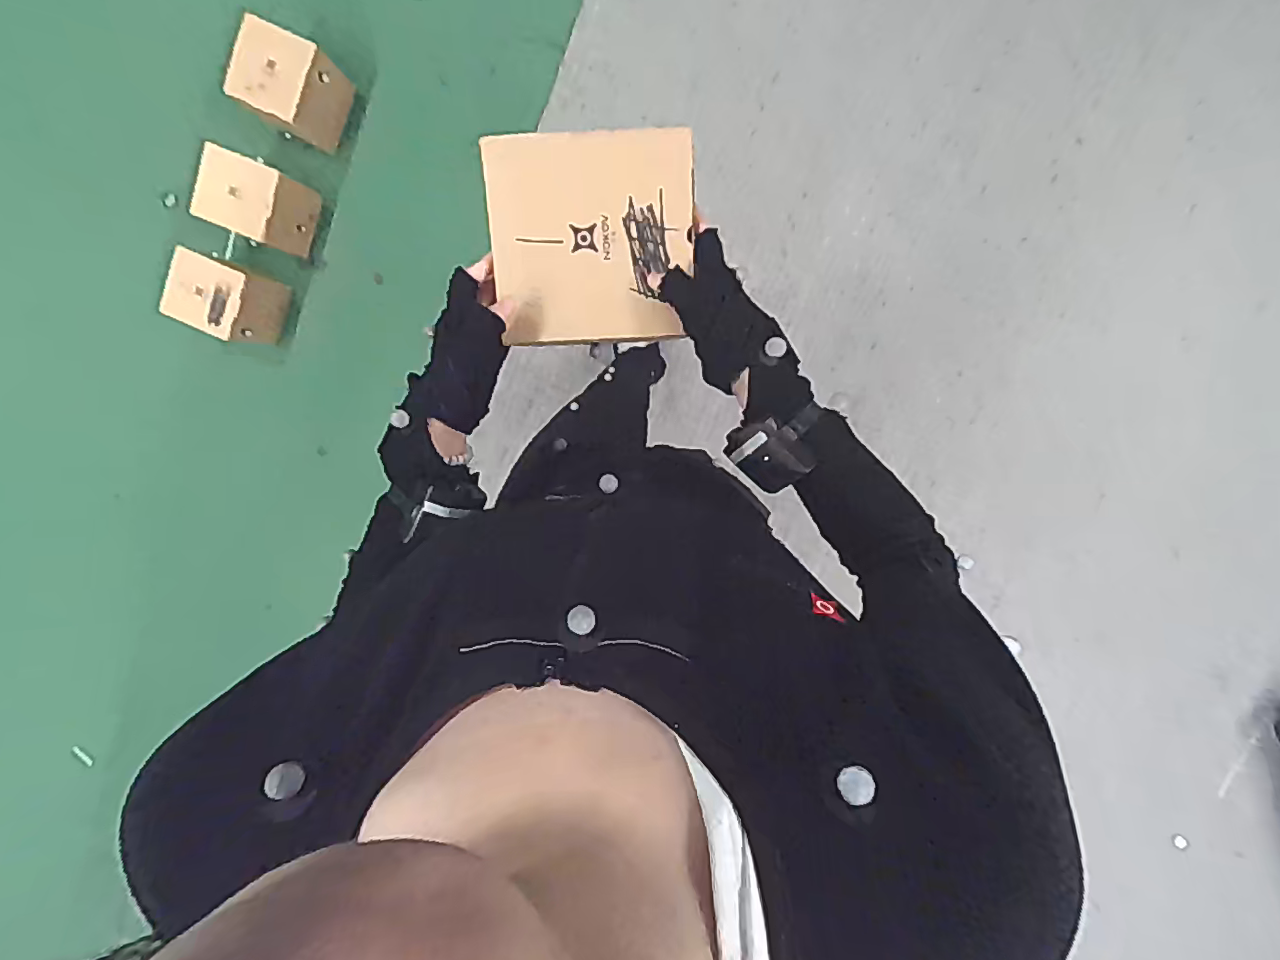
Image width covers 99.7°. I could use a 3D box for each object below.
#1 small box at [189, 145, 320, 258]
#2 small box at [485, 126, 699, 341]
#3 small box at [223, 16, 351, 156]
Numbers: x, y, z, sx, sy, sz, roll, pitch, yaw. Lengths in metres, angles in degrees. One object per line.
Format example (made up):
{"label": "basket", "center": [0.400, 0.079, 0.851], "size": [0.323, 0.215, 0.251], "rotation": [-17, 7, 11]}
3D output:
{"label": "small box", "center": [-0.924, -0.661, 1.309], "size": [0.179, 0.176, 0.168], "rotation": [21, 98, -4]}
{"label": "small box", "center": [-0.041, -0.226, 0.535], "size": [0.179, 0.176, 0.168], "rotation": [-3, 103, -1]}
{"label": "small box", "center": [-0.813, -0.909, 1.266], "size": [0.168, 0.176, 0.179], "rotation": [24, 98, -3]}
